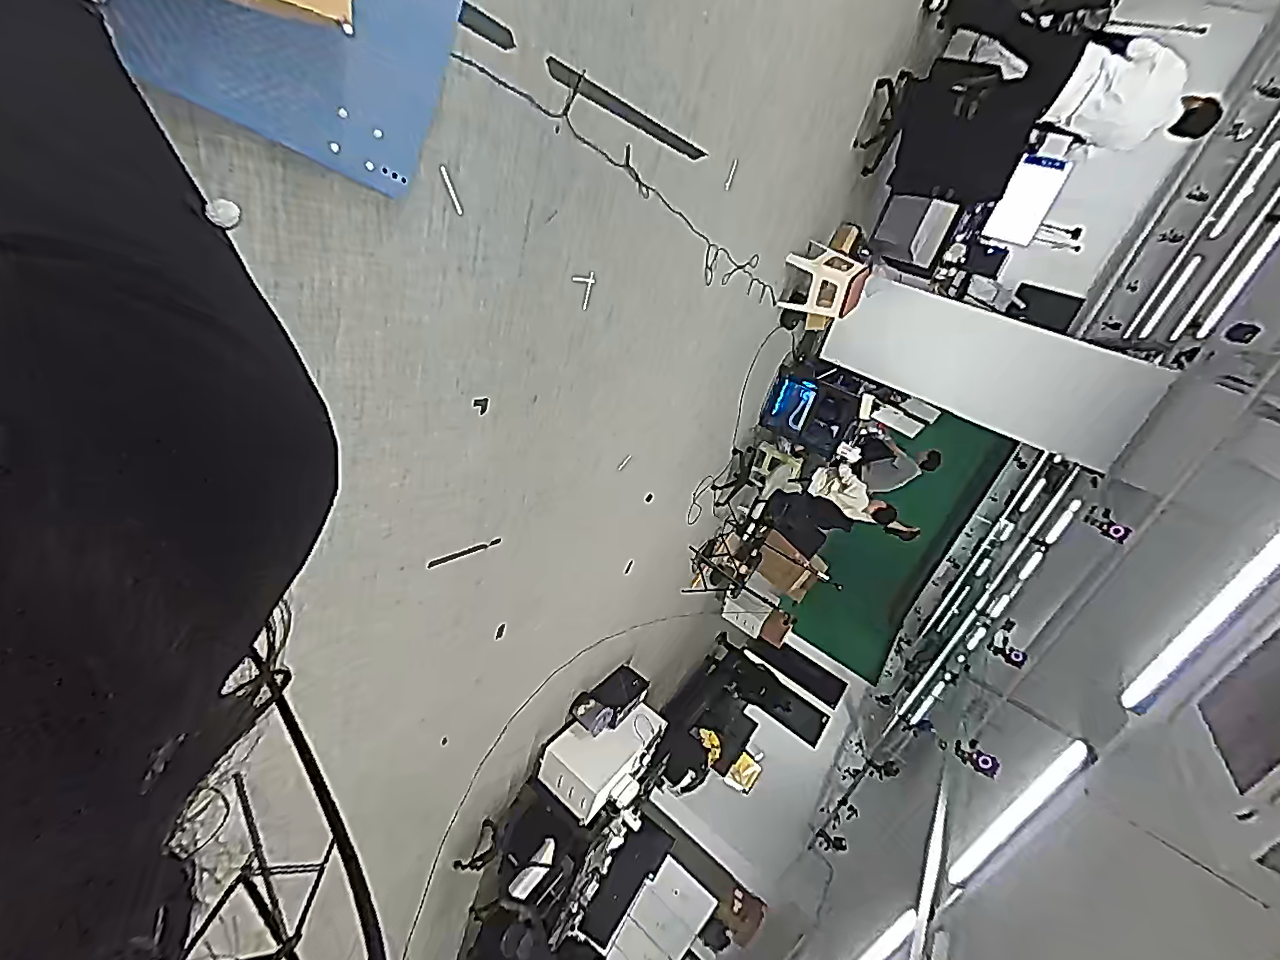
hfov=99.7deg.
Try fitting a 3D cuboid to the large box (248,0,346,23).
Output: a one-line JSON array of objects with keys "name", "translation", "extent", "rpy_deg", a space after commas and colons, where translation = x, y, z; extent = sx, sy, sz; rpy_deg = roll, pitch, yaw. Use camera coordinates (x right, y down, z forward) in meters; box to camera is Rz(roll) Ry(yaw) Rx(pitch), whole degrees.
[{"name": "large box", "translation": [-0.608, -0.891, 0.673], "extent": [0.320, 0.320, 0.408], "rpy_deg": [-26, 140, -49]}]
